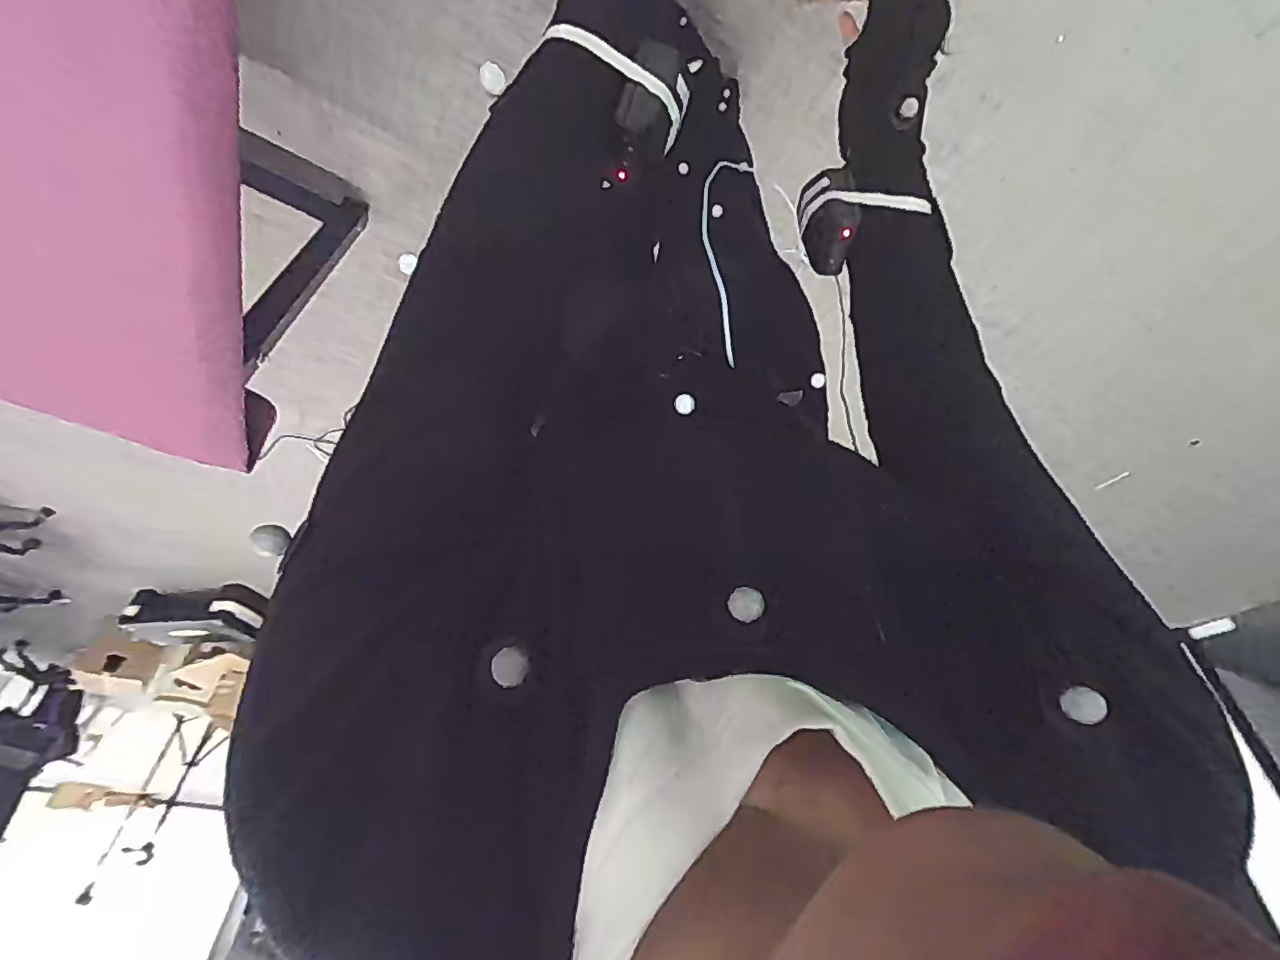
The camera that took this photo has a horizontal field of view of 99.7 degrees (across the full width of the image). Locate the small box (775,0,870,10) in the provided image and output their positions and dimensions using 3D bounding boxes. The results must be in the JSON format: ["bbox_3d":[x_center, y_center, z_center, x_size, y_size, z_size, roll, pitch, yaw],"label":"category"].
[{"bbox_3d":[0.144,-0.498,0.395,0.168,0.176,0.179,25,121,-29],"label":"small box"}]
